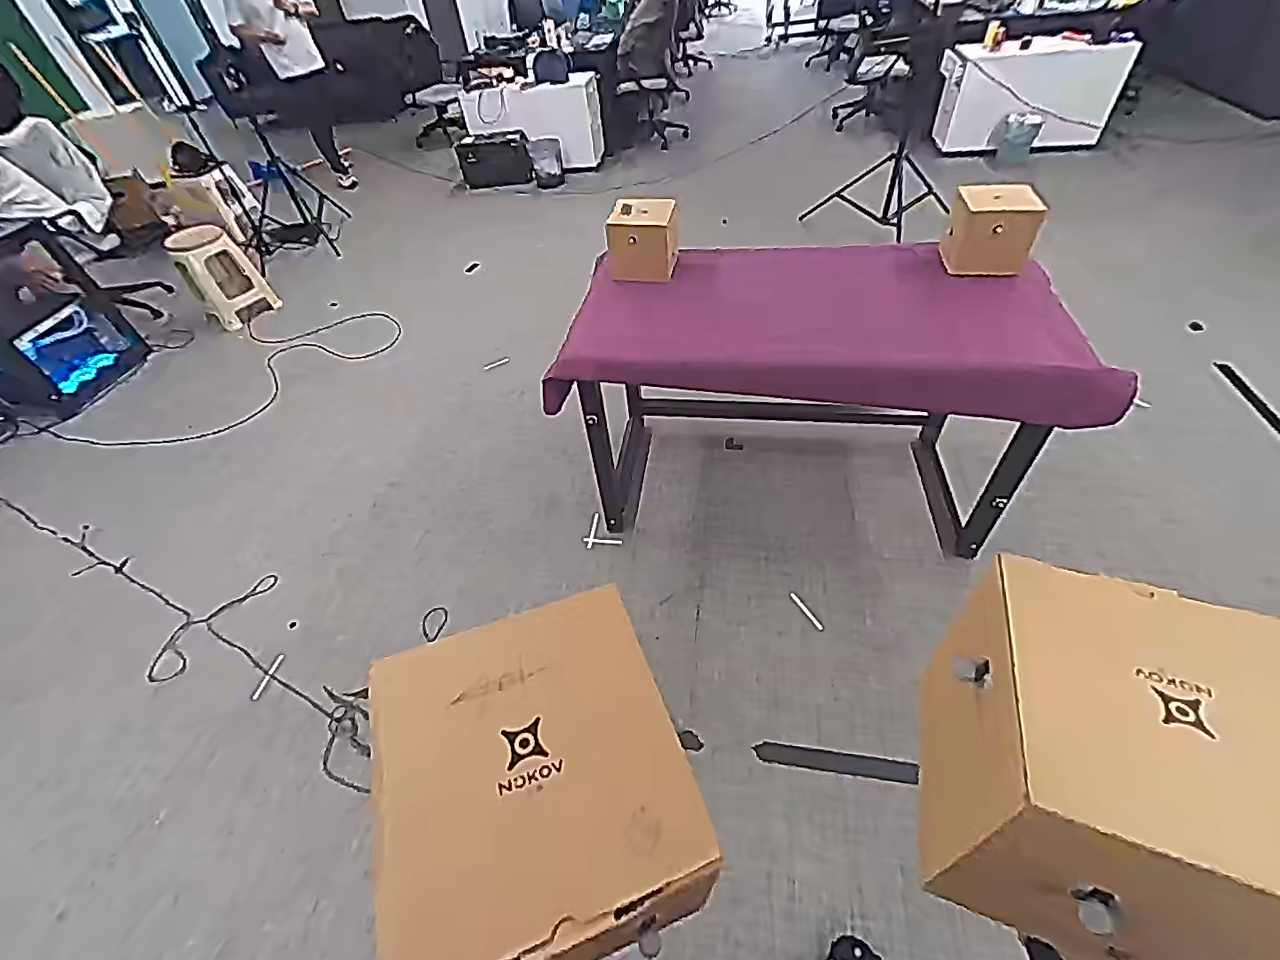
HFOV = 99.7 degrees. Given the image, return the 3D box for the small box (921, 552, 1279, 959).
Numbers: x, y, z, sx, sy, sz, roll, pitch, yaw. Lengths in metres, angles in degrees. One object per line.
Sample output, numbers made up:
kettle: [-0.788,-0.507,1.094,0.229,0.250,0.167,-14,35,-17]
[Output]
small box: [0.296,0.182,0.349,0.168,0.176,0.179,14,43,17]

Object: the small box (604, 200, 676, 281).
small box: [0.006,-0.699,1.582,0.179,0.176,0.168,6,50,11]

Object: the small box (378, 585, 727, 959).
small box: [-0.058,0.208,0.362,0.168,0.176,0.179,-16,47,-15]

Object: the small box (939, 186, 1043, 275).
small box: [0.917,-0.662,1.438,0.179,0.176,0.168,4,49,10]
